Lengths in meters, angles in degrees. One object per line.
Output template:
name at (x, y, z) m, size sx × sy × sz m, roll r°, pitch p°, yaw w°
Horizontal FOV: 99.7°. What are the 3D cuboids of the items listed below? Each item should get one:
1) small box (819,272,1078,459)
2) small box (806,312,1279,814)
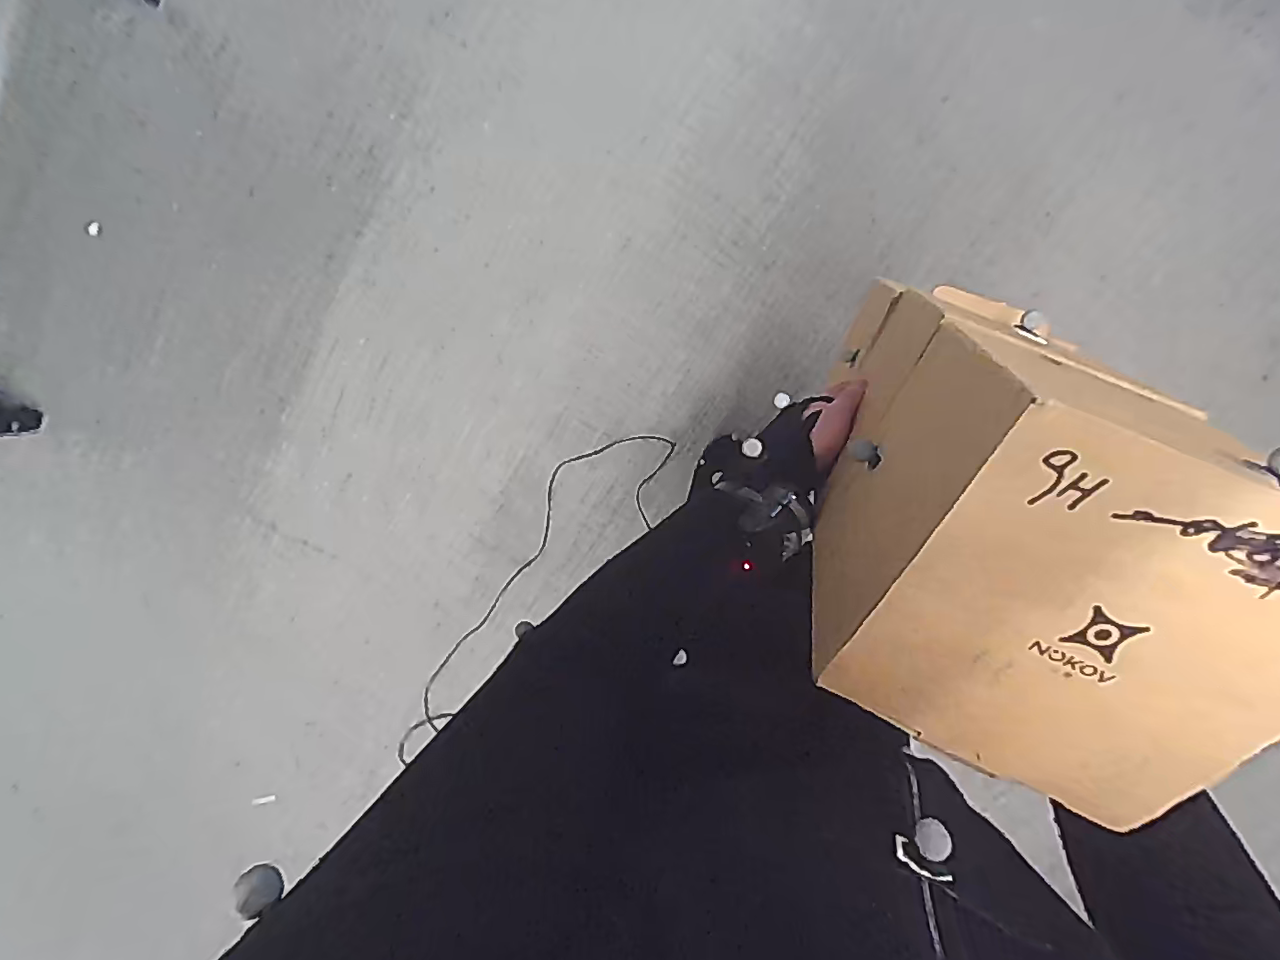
small box at (0.301, -0.111, 0.580) m, size 0.168 × 0.176 × 0.179 m, roll 21°, pitch 119°, yaw 7°
small box at (0.210, 0.031, 0.300) m, size 0.168 × 0.176 × 0.179 m, roll 24°, pitch 122°, yaw 5°
